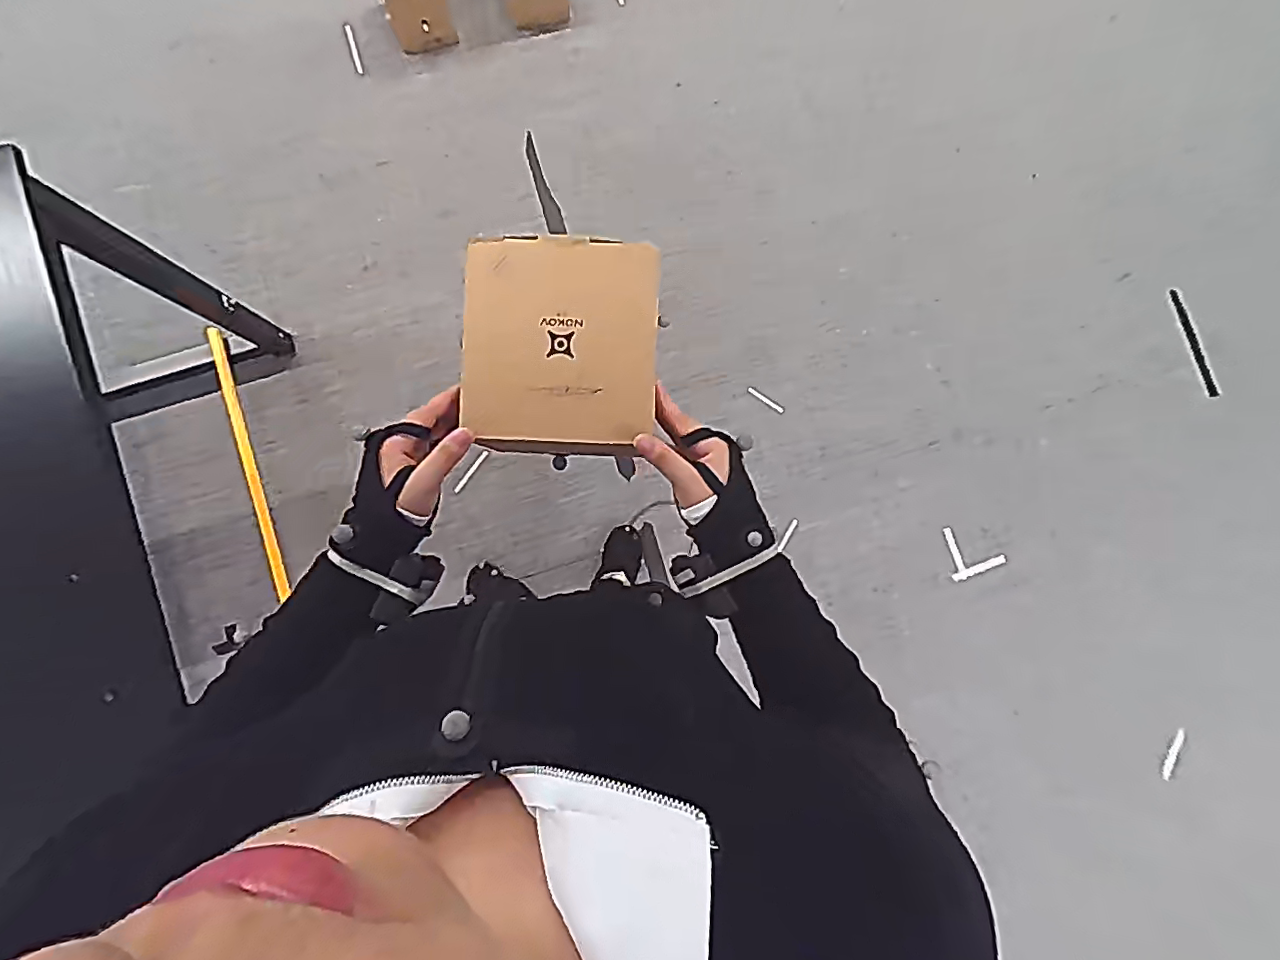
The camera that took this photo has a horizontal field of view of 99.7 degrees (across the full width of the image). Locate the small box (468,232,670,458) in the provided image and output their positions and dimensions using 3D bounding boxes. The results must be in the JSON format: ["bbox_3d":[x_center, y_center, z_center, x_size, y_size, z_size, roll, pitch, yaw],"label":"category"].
[{"bbox_3d":[-0.062,-0.118,0.537,0.168,0.176,0.179,2,89,-1],"label":"small box"}]

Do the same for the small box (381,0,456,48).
[{"bbox_3d":[-0.626,-1.343,1.493,0.168,0.176,0.179,-18,88,-6],"label":"small box"}]

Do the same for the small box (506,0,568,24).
[{"bbox_3d":[-0.309,-1.443,1.530,0.179,0.176,0.168,-14,87,-7],"label":"small box"}]
